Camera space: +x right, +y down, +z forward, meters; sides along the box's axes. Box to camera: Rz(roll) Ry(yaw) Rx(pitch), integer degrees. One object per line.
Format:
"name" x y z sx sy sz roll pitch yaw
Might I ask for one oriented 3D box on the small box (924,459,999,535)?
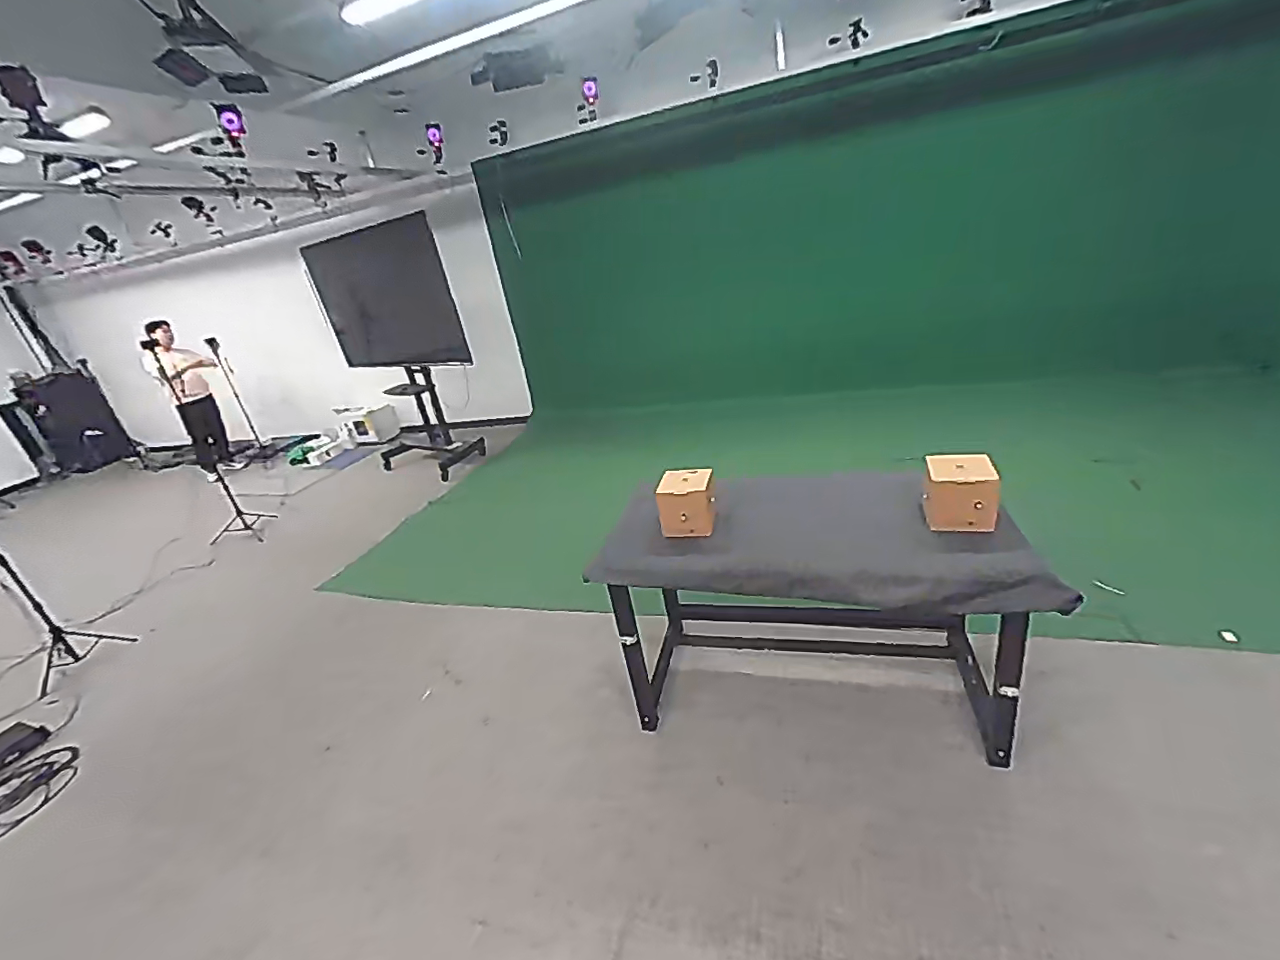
"small box" 0.939 0.050 1.591 0.168 0.176 0.179 0 24 21

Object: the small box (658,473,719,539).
"small box" 0.171 0.090 1.837 0.168 0.176 0.179 -2 25 17
